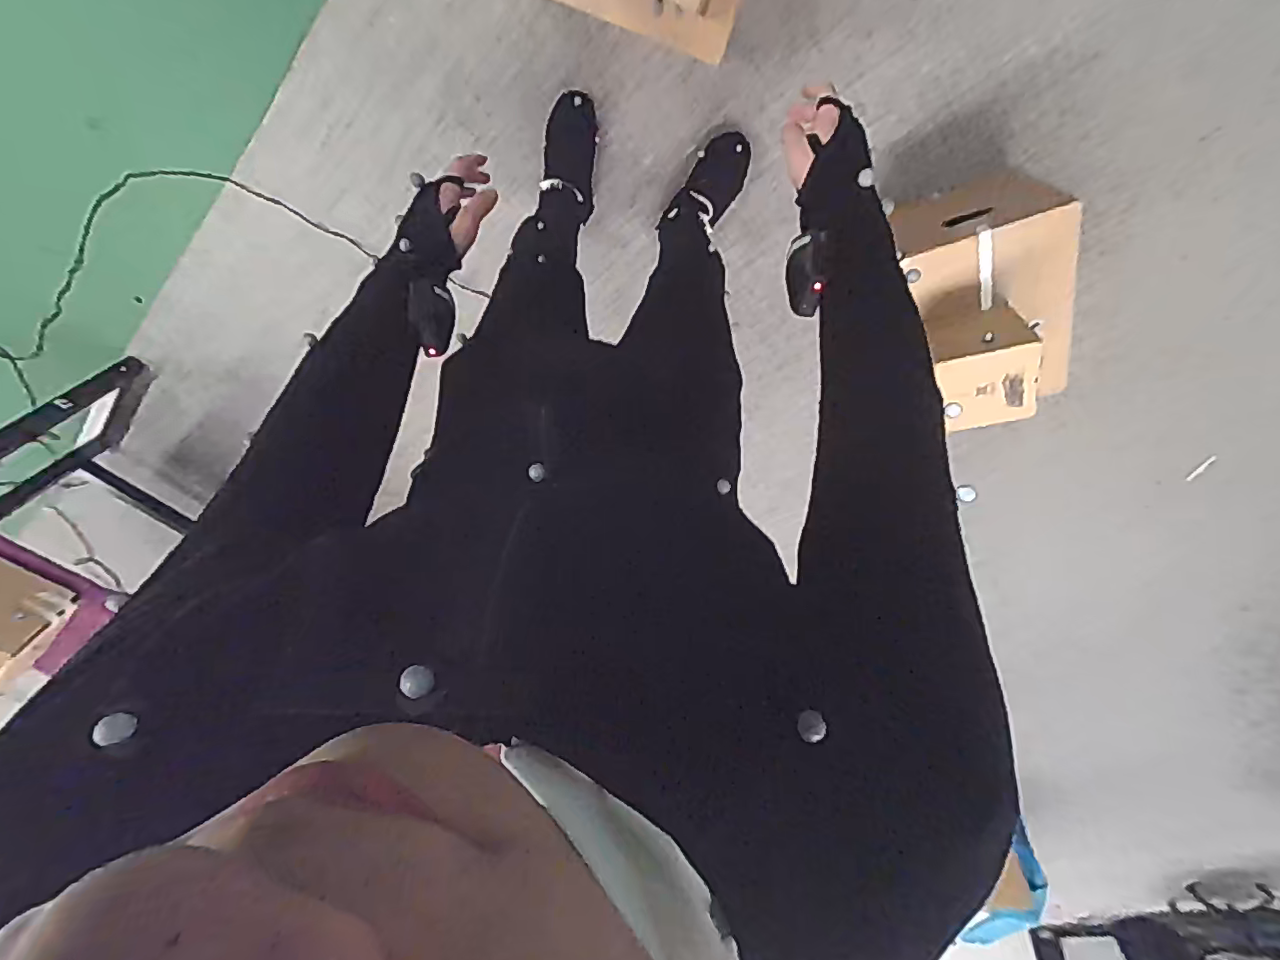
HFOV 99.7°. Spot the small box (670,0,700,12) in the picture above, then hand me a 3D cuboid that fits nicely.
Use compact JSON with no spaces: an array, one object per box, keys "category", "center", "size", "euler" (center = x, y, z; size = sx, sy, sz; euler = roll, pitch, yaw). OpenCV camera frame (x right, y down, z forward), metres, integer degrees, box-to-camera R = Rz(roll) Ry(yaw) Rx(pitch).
[{"category":"small box","center":[0.019,-0.656,0.592],"size":[0.179,0.176,0.168],"euler":[21,129,-9]}]

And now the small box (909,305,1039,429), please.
[{"category":"small box","center":[0.656,-0.228,1.082],"size":[0.179,0.176,0.168],"euler":[-10,128,18]}]

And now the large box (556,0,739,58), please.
[{"category":"large box","center":[0.002,-0.951,0.886],"size":[0.408,0.320,0.320],"euler":[18,129,-6]}]
